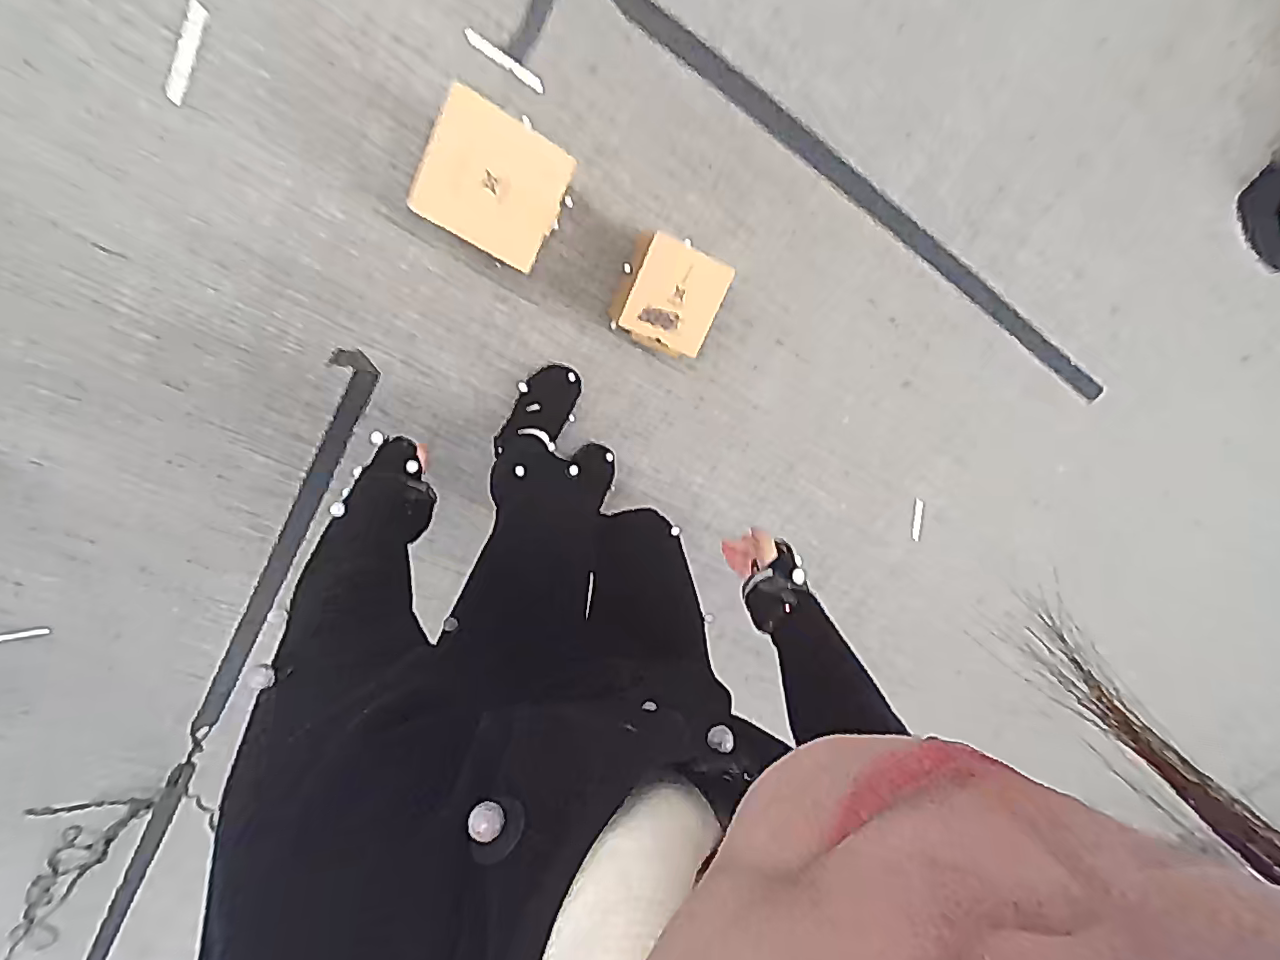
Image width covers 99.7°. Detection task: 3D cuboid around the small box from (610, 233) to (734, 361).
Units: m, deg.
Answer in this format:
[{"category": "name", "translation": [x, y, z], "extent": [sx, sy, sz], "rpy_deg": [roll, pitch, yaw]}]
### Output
[{"category": "small box", "translation": [0.051, -0.358, 1.050], "extent": [0.168, 0.176, 0.179], "rpy_deg": [20, 109, -19]}]

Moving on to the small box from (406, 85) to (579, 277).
[{"category": "small box", "translation": [-0.207, -0.420, 0.784], "extent": [0.179, 0.176, 0.168], "rpy_deg": [25, 107, -20]}]
